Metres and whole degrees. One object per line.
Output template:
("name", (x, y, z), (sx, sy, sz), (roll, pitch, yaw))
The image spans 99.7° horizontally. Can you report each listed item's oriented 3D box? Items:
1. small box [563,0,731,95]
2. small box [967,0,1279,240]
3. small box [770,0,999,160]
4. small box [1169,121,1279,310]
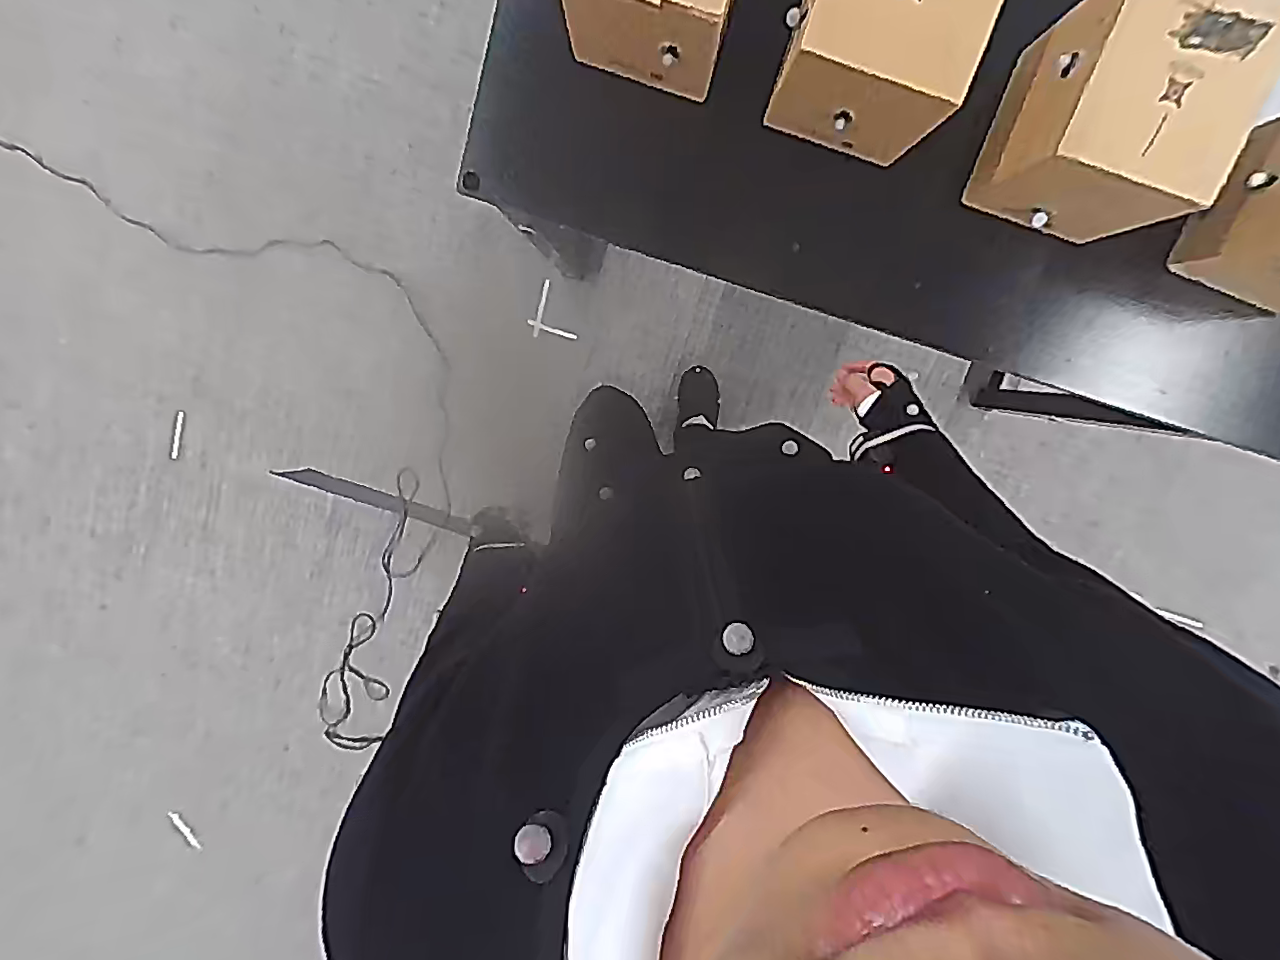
("small box", (0.021, -0.546, 0.559), (0.168, 0.176, 0.179), (16, 101, -4))
("small box", (0.499, -0.387, 0.584), (0.168, 0.176, 0.179), (17, 102, -3))
("small box", (0.250, -0.474, 0.568), (0.168, 0.176, 0.179), (17, 102, -3))
("small box", (0.767, -0.300, 0.598), (0.179, 0.176, 0.168), (20, 101, -3))
